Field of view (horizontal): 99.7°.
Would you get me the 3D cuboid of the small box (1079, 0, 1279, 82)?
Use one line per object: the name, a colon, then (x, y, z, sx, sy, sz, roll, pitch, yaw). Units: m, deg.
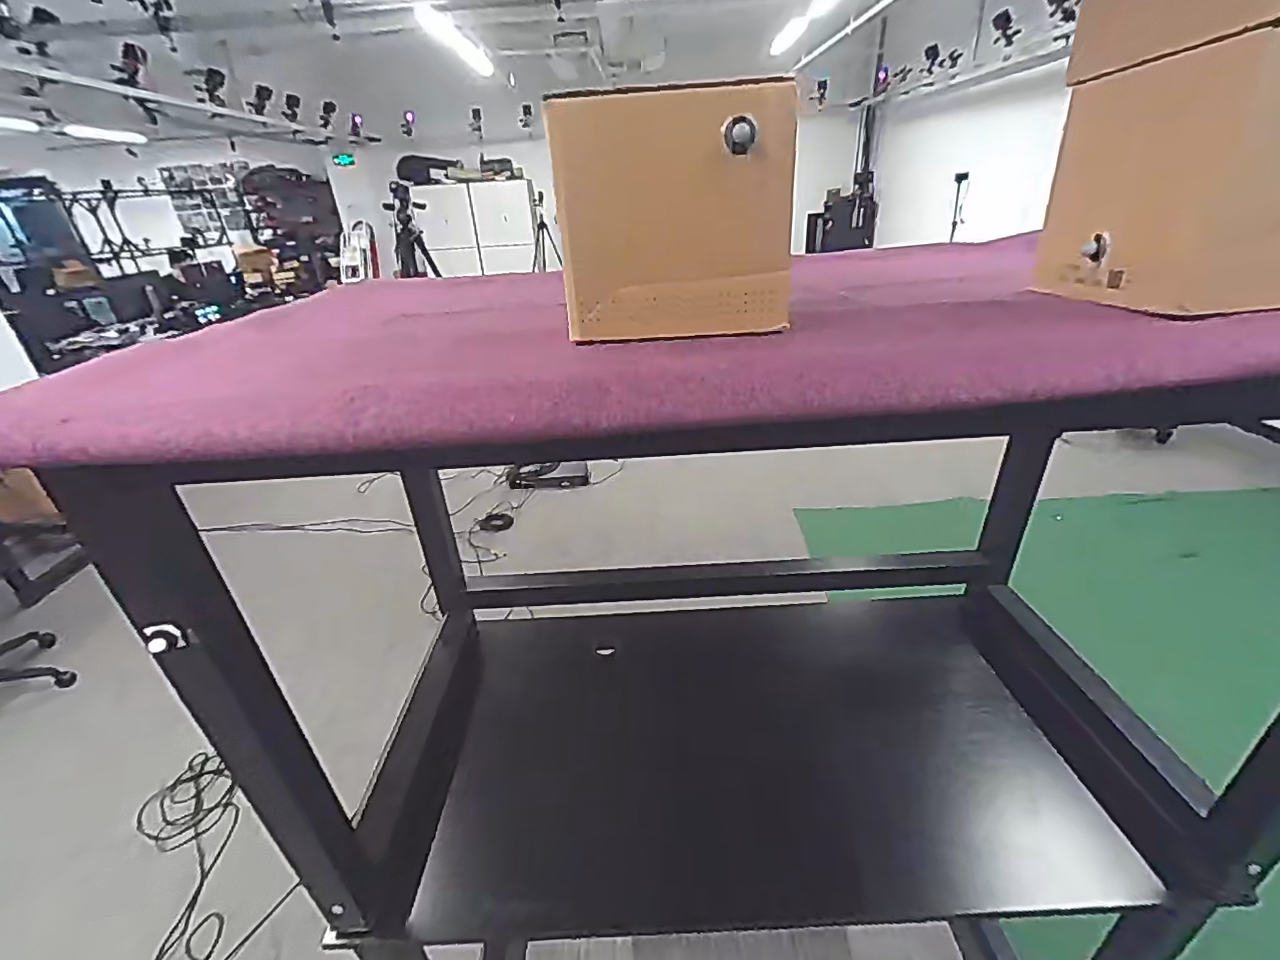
small box: (0.434, -0.377, 0.339, 0.168, 0.176, 0.179, -4, 26, 3)

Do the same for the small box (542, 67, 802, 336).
small box: (0.027, -0.223, 0.459, 0.179, 0.176, 0.168, -2, 27, 2)
